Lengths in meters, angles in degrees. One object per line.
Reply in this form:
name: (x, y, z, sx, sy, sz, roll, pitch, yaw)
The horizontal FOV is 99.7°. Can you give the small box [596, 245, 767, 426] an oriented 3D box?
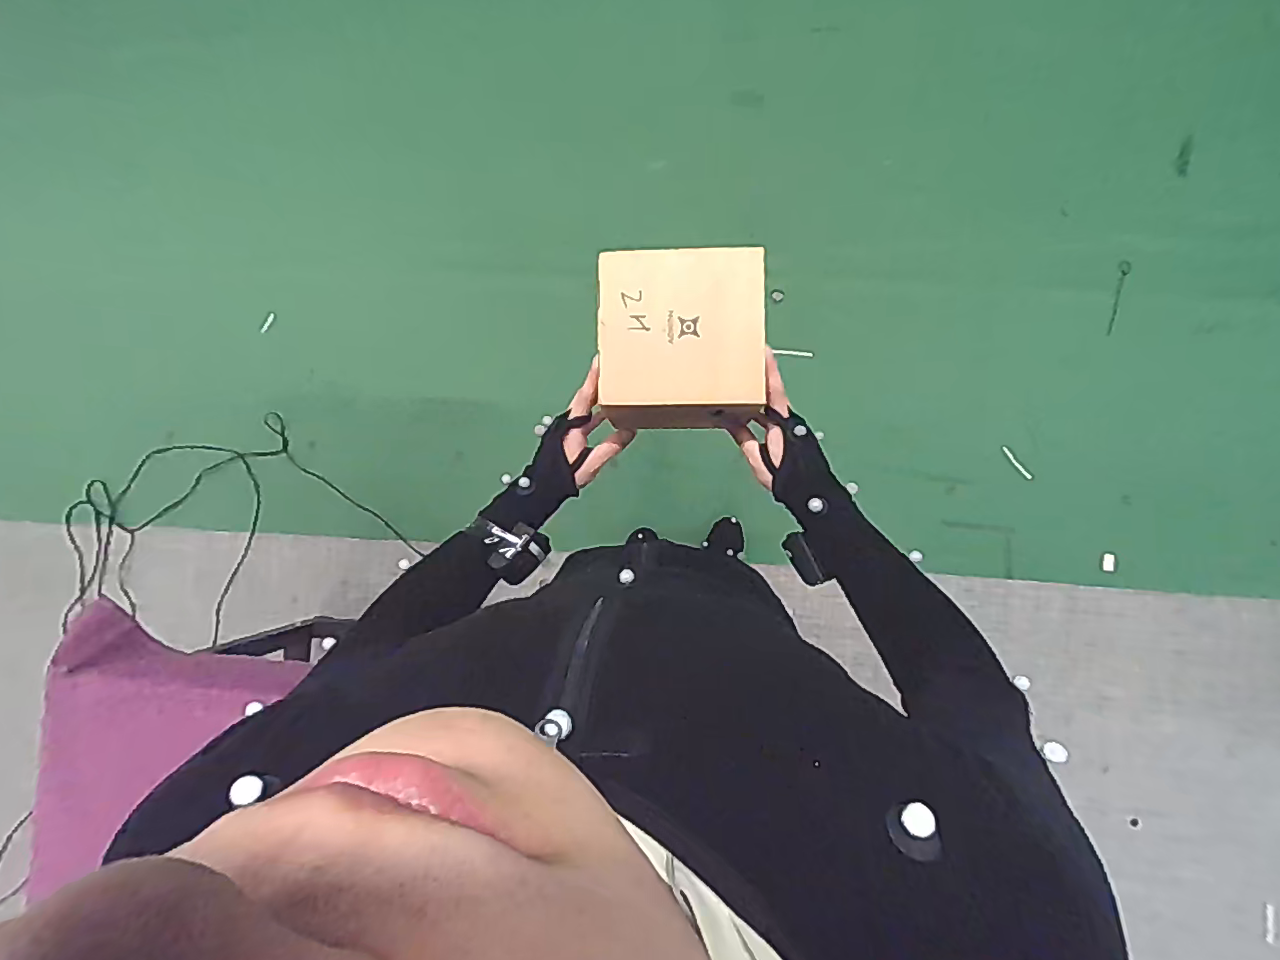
small box: (0.046, -0.158, 0.635, 0.179, 0.176, 0.168, 0, 87, 4)
